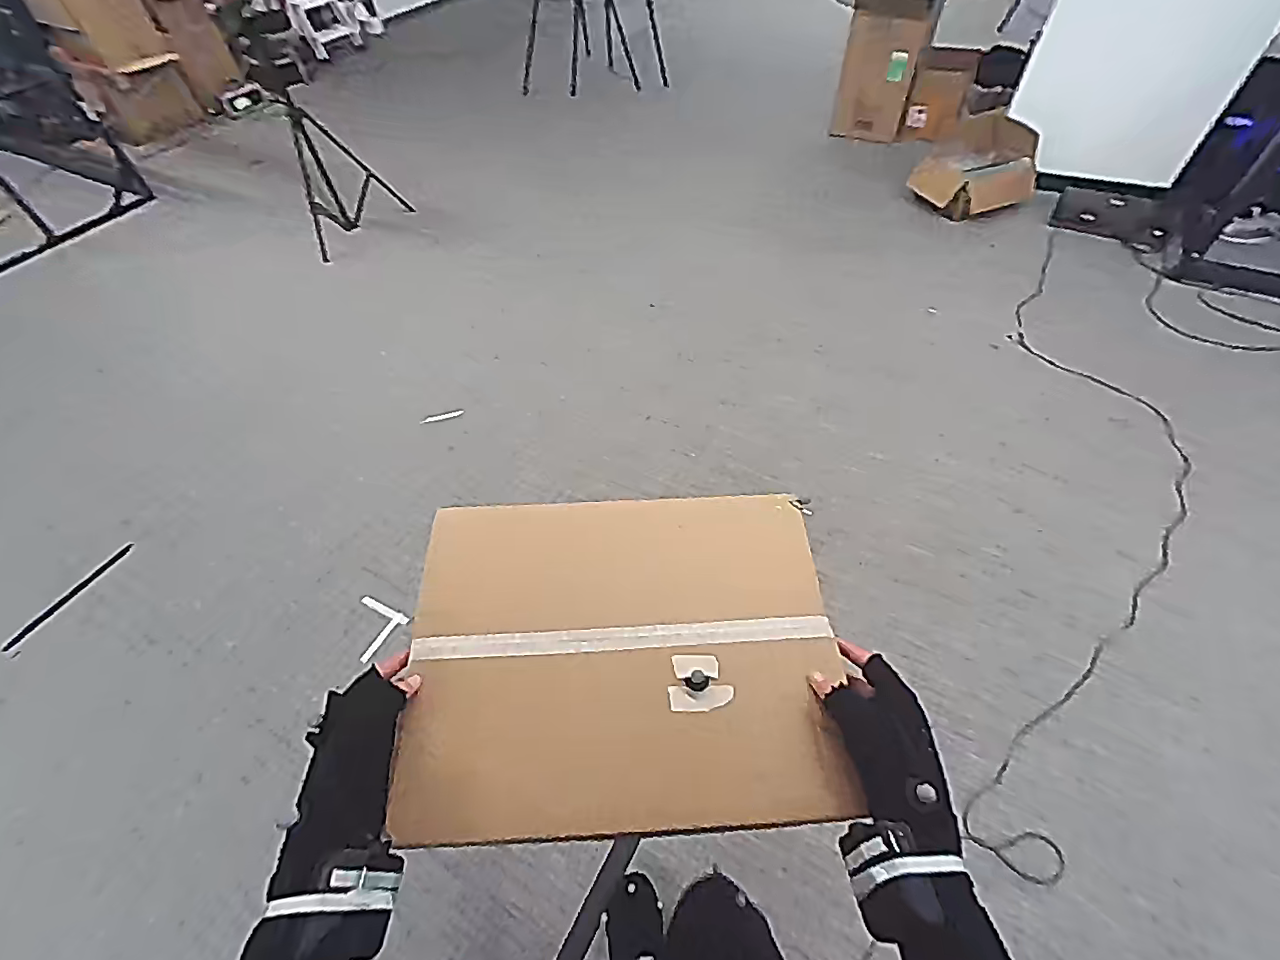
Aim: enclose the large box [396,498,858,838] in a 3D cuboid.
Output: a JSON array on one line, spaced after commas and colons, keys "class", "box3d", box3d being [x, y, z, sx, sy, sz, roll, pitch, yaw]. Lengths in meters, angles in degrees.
[{"class": "large box", "box3d": [-0.018, 0.239, 0.662, 0.408, 0.320, 0.320, -2, 56, -2]}]
